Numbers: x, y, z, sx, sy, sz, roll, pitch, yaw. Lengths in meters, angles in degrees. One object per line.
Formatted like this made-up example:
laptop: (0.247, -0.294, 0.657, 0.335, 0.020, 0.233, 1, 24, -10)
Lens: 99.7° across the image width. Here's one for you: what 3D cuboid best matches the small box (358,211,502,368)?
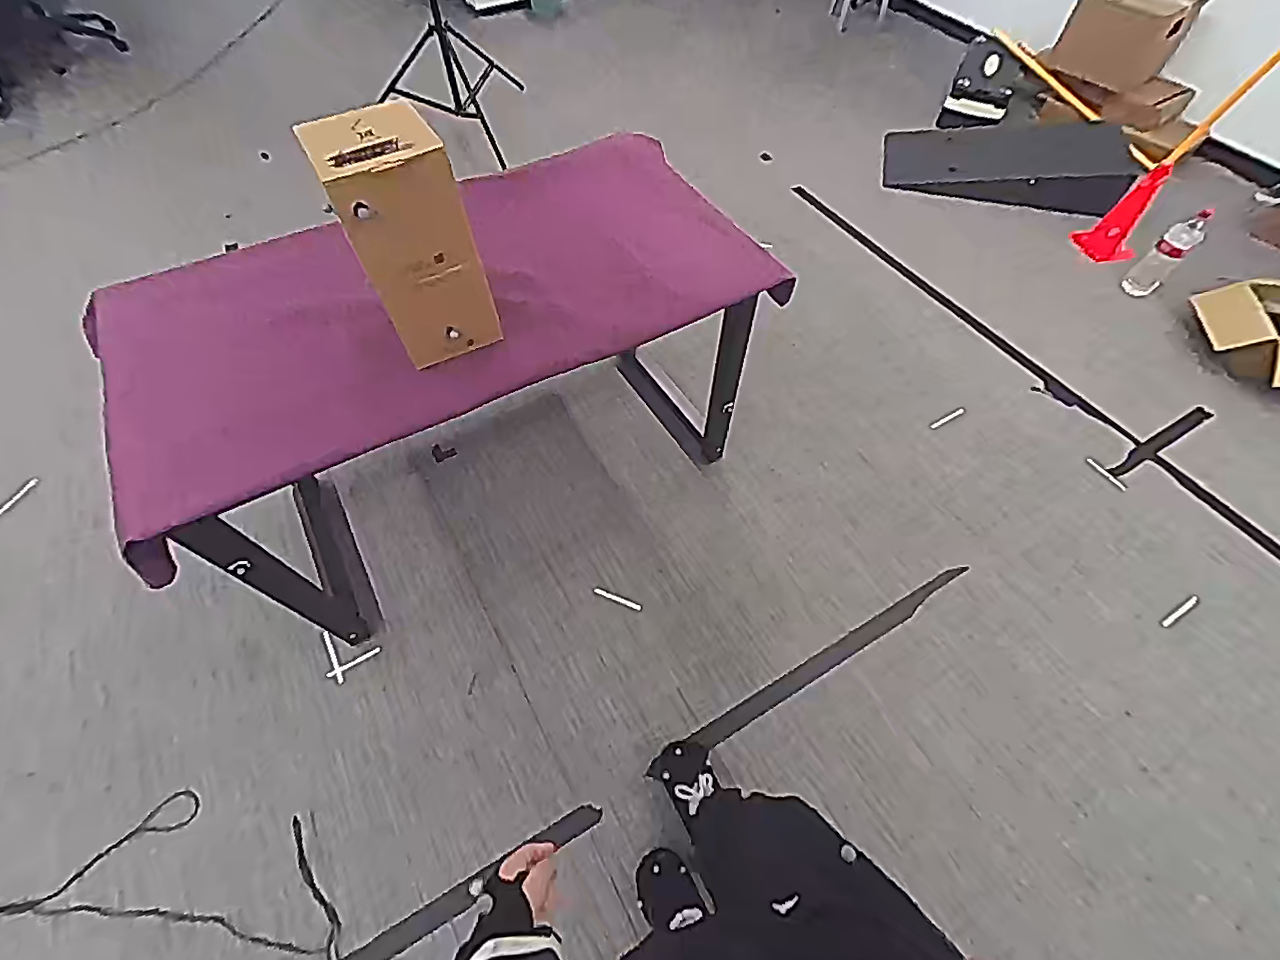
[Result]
small box: (-0.362, -0.331, 0.949, 0.168, 0.176, 0.179, -25, 61, -14)
